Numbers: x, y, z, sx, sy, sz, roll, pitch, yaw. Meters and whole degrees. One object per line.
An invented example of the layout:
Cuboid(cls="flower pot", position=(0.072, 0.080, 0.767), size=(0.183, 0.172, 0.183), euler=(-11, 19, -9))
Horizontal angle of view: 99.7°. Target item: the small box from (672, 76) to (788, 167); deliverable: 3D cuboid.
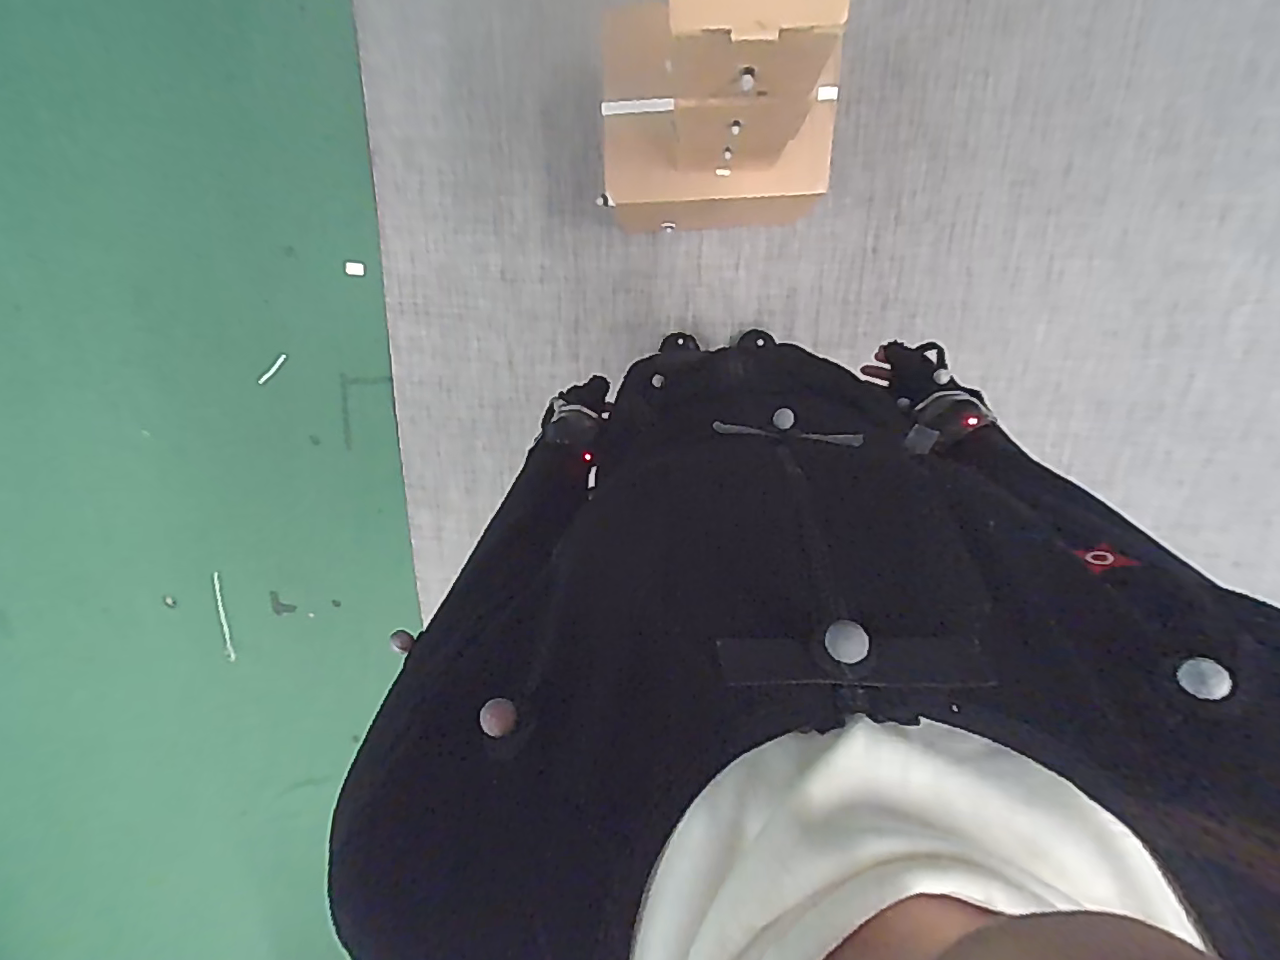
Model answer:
Cuboid(cls="small box", position=(0.145, -0.614, 0.868), size=(0.179, 0.176, 0.168), euler=(2, 108, 4))

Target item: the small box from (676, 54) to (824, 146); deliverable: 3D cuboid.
Cuboid(cls="small box", position=(0.135, -0.561, 0.713), size=(0.179, 0.176, 0.168), euler=(-2, 107, 6))

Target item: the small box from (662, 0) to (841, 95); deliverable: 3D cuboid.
Cuboid(cls="small box", position=(0.117, -0.523, 0.555), size=(0.168, 0.176, 0.179), euler=(5, 108, 6))
